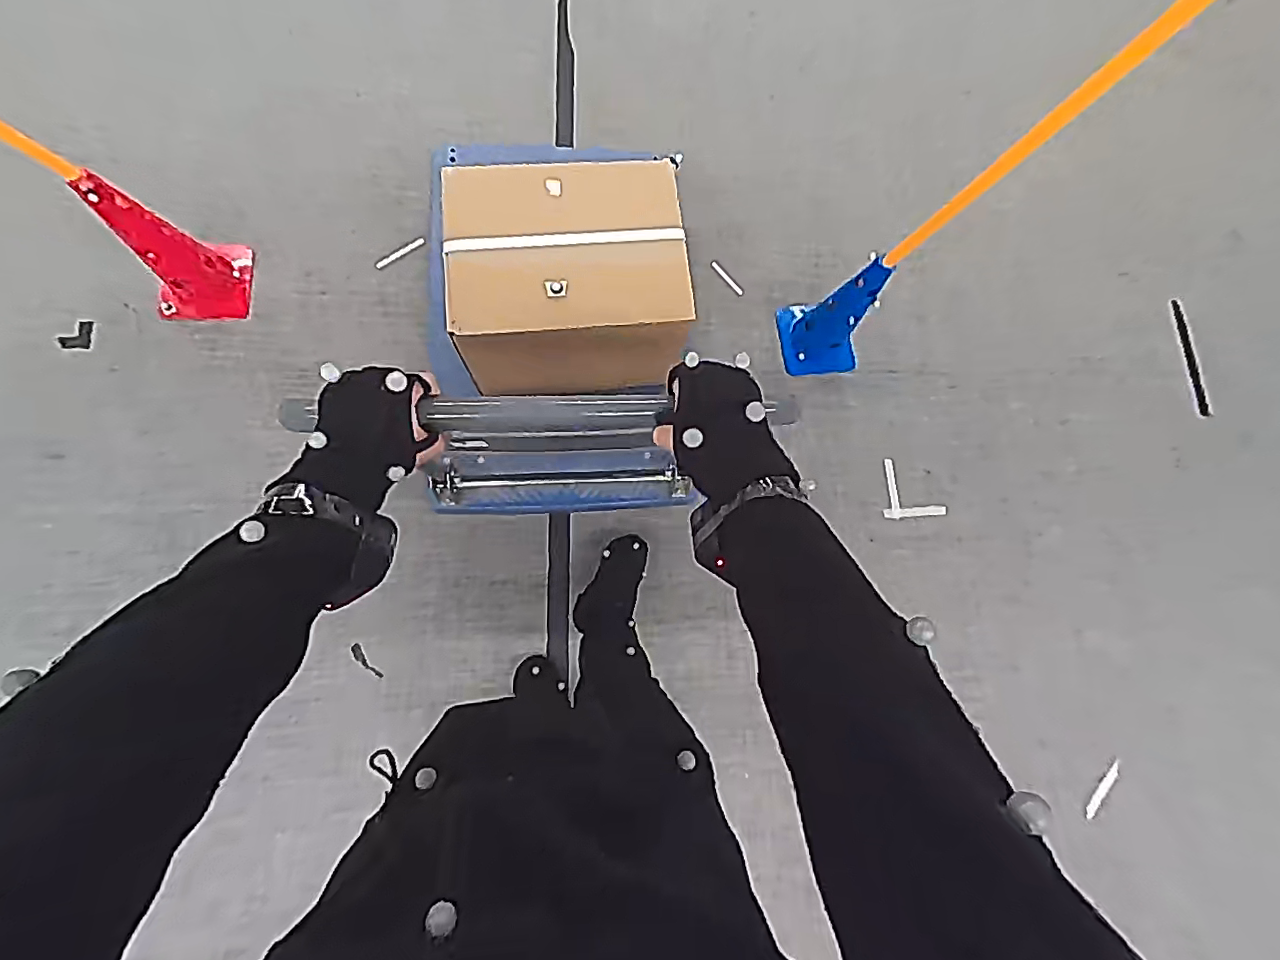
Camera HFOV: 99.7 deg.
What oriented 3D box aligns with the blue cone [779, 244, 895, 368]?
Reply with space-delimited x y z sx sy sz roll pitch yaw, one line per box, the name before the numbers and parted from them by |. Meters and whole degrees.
blue cone | 0.498 -0.427 1.304 0.193 0.380 0.192 -5 78 -8
